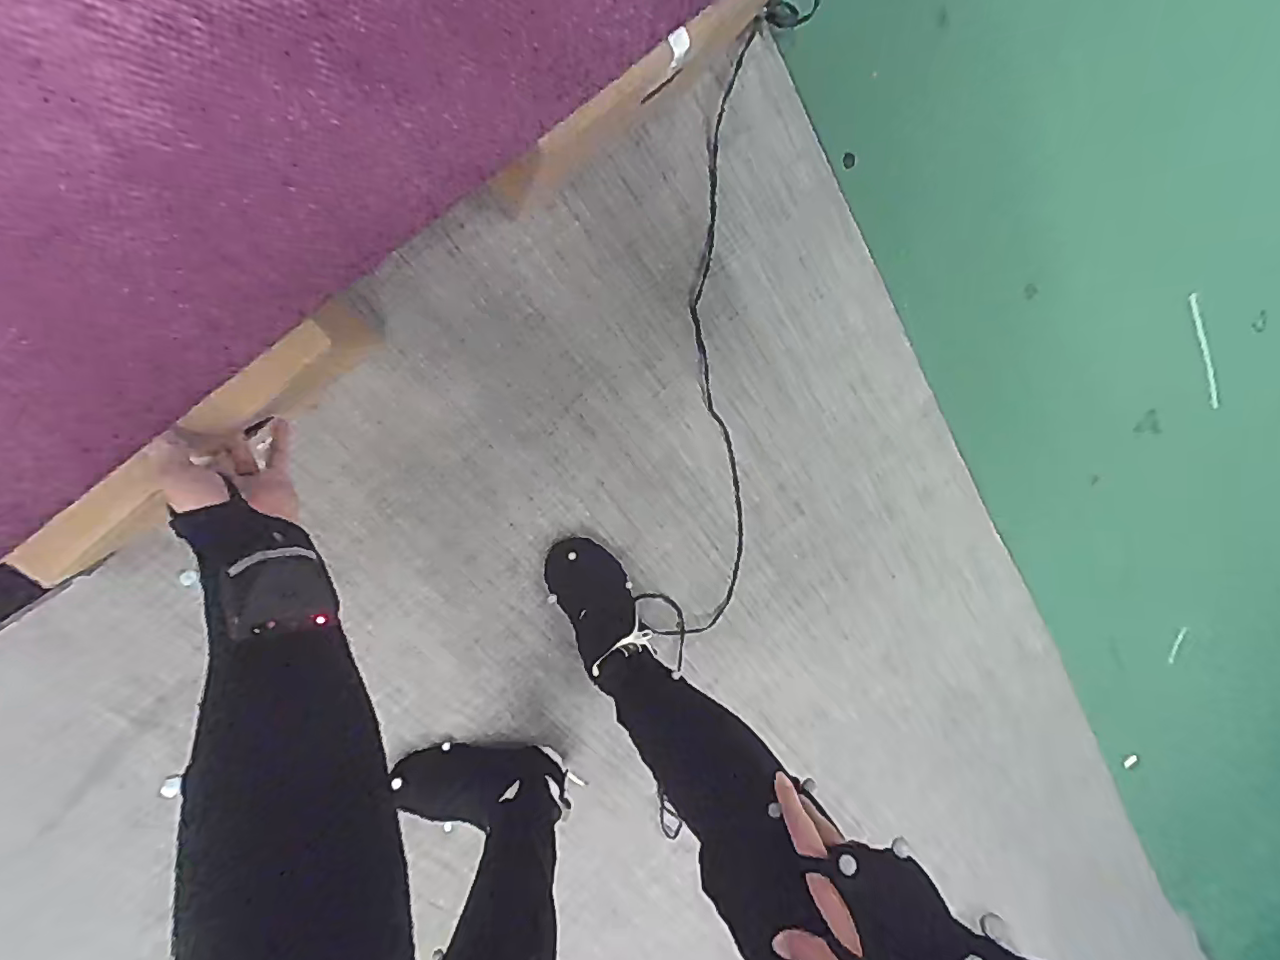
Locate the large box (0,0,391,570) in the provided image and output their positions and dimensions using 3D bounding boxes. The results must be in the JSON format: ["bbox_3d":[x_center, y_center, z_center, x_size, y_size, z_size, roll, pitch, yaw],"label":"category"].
[{"bbox_3d":[-0.533,-0.192,0.533,0.320,0.320,0.408,-43,111,-4],"label":"large box"}]
